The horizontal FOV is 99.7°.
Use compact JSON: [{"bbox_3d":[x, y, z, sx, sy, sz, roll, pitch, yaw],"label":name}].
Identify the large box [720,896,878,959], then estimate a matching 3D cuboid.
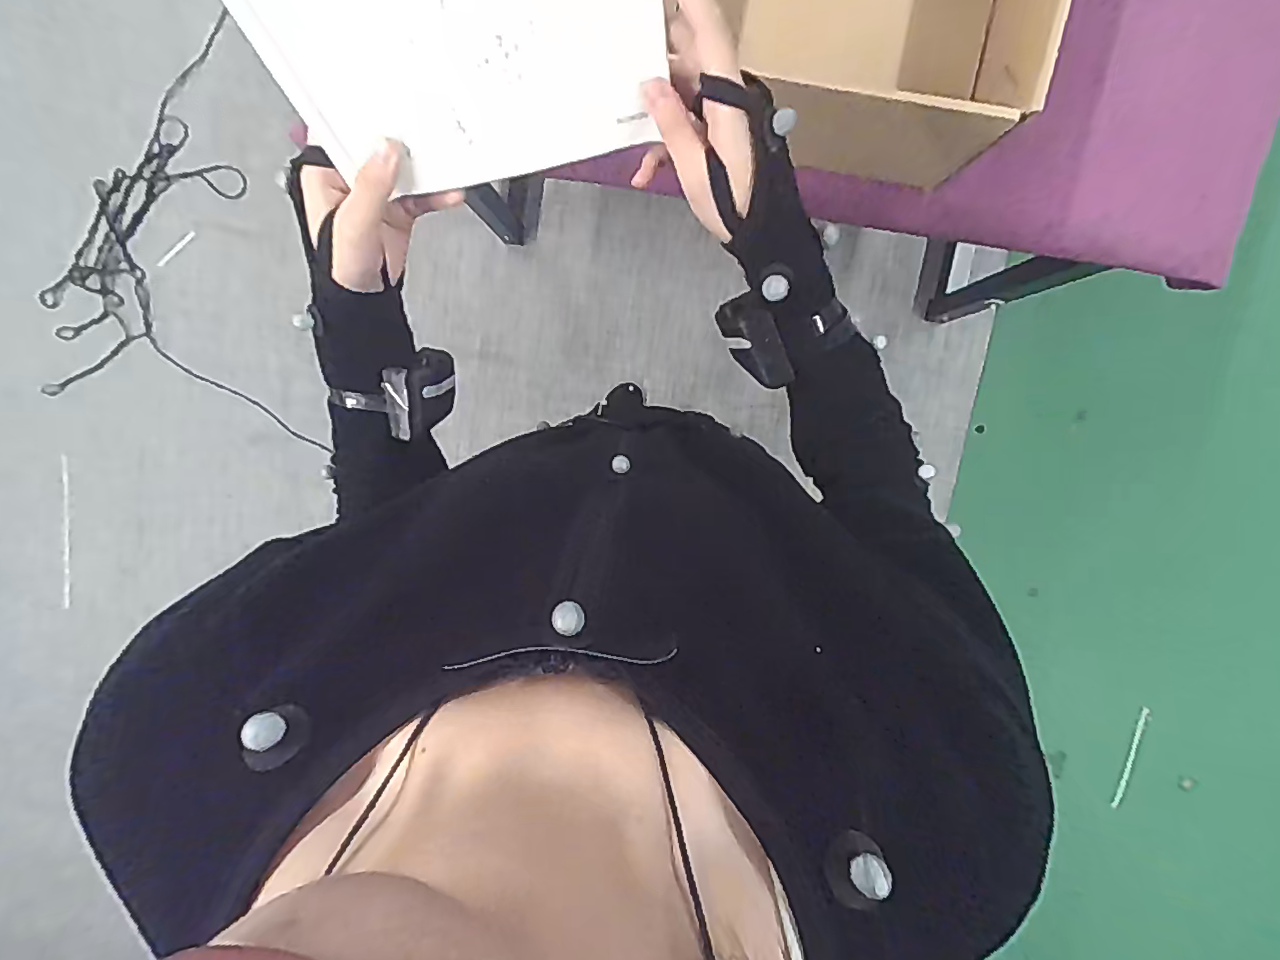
[{"bbox_3d":[0.454,1.446,1.515,0.408,0.320,0.320,-5,98,1],"label":"large box"}]
